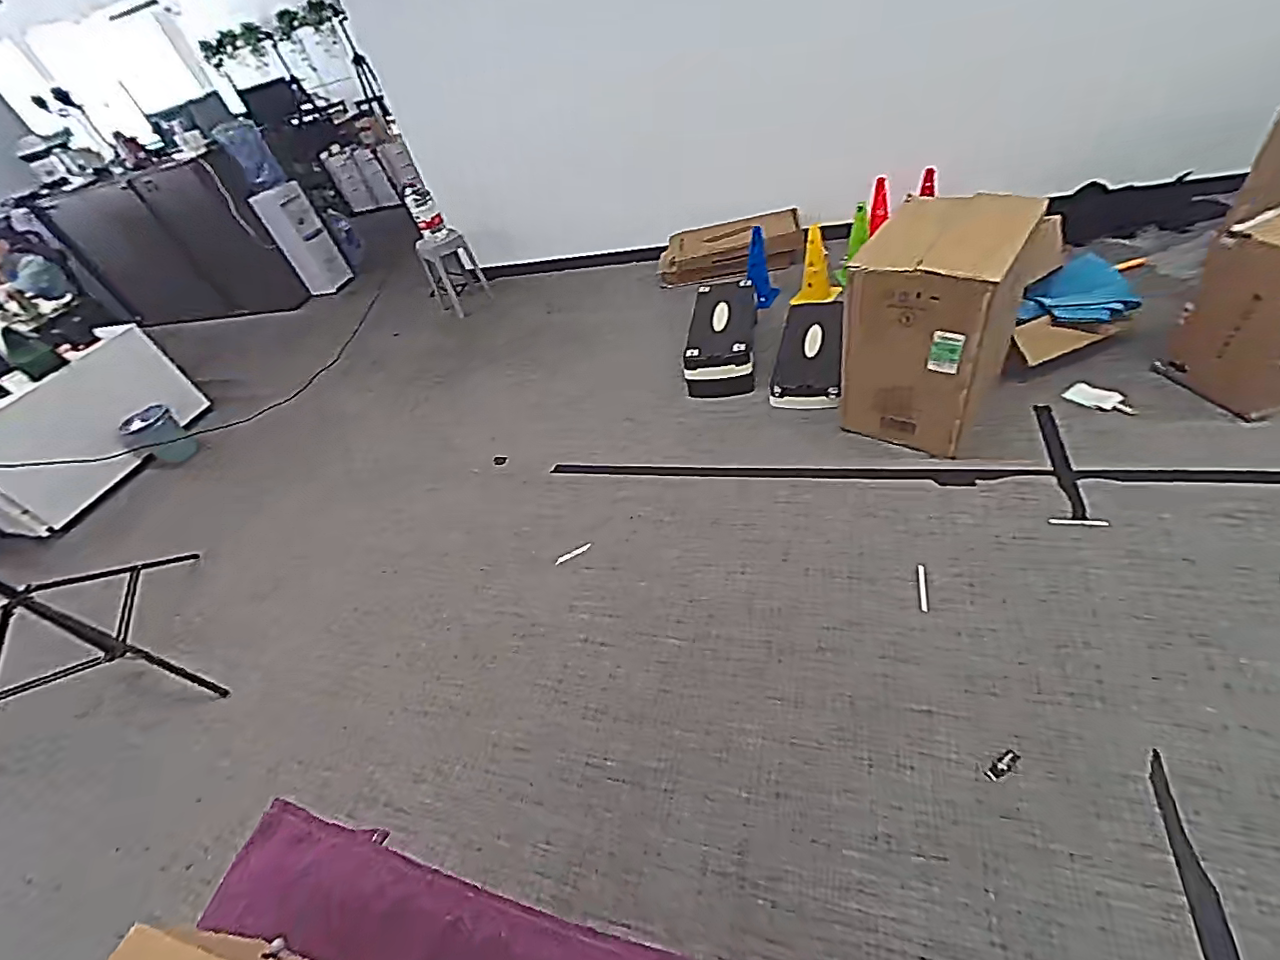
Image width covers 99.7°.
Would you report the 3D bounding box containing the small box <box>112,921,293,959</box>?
[{"bbox_3d":[-0.381,0.520,0.462,0.168,0.176,0.179,3,47,18],"label":"small box"}]
